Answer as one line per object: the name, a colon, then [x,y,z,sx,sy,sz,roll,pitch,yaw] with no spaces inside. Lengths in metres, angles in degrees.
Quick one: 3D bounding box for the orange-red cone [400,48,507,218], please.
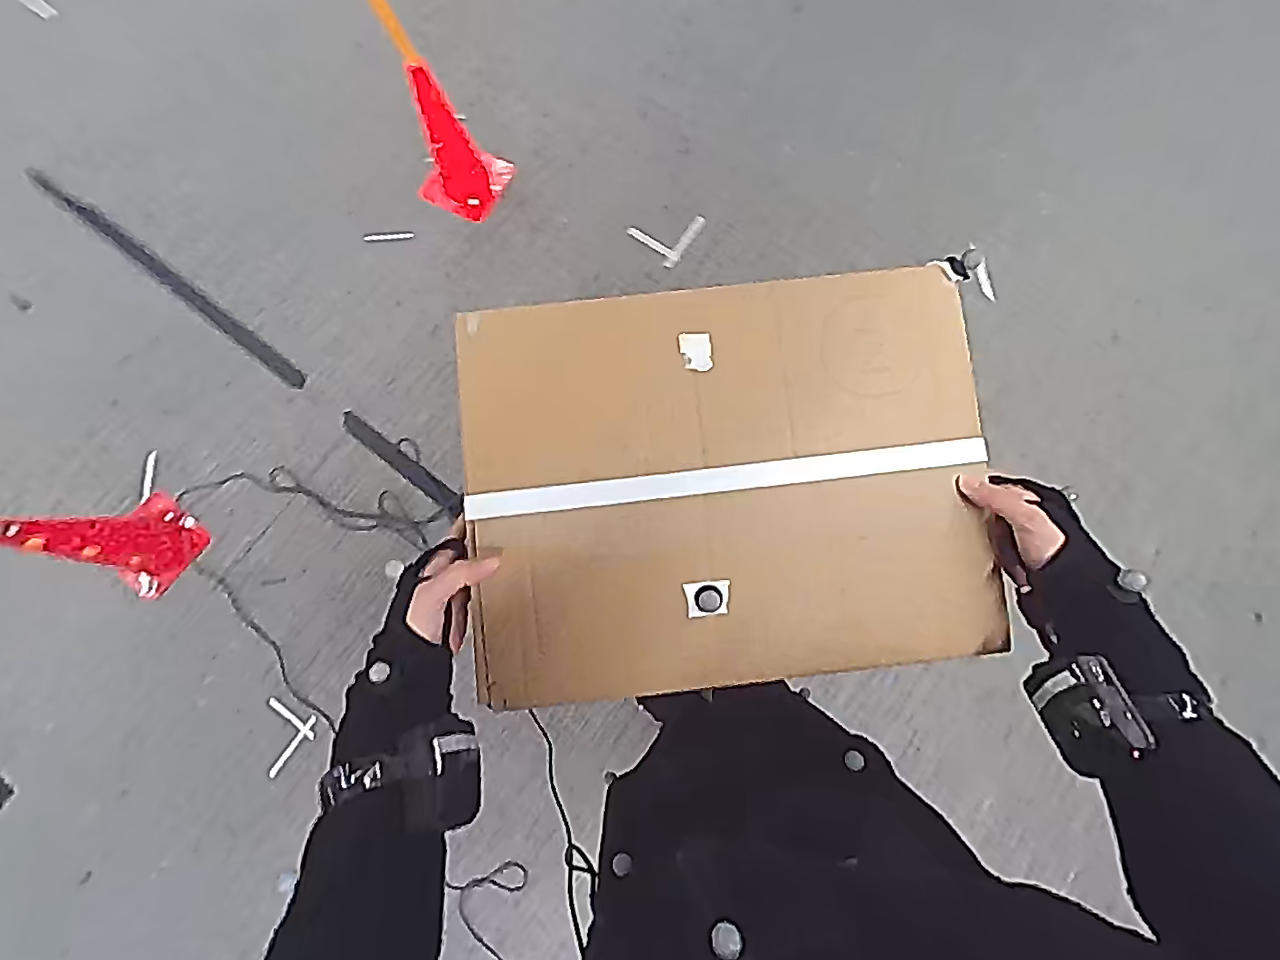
orange-red cone: [-0.482,-0.851,1.294,0.198,0.360,0.199,27,80,5]
